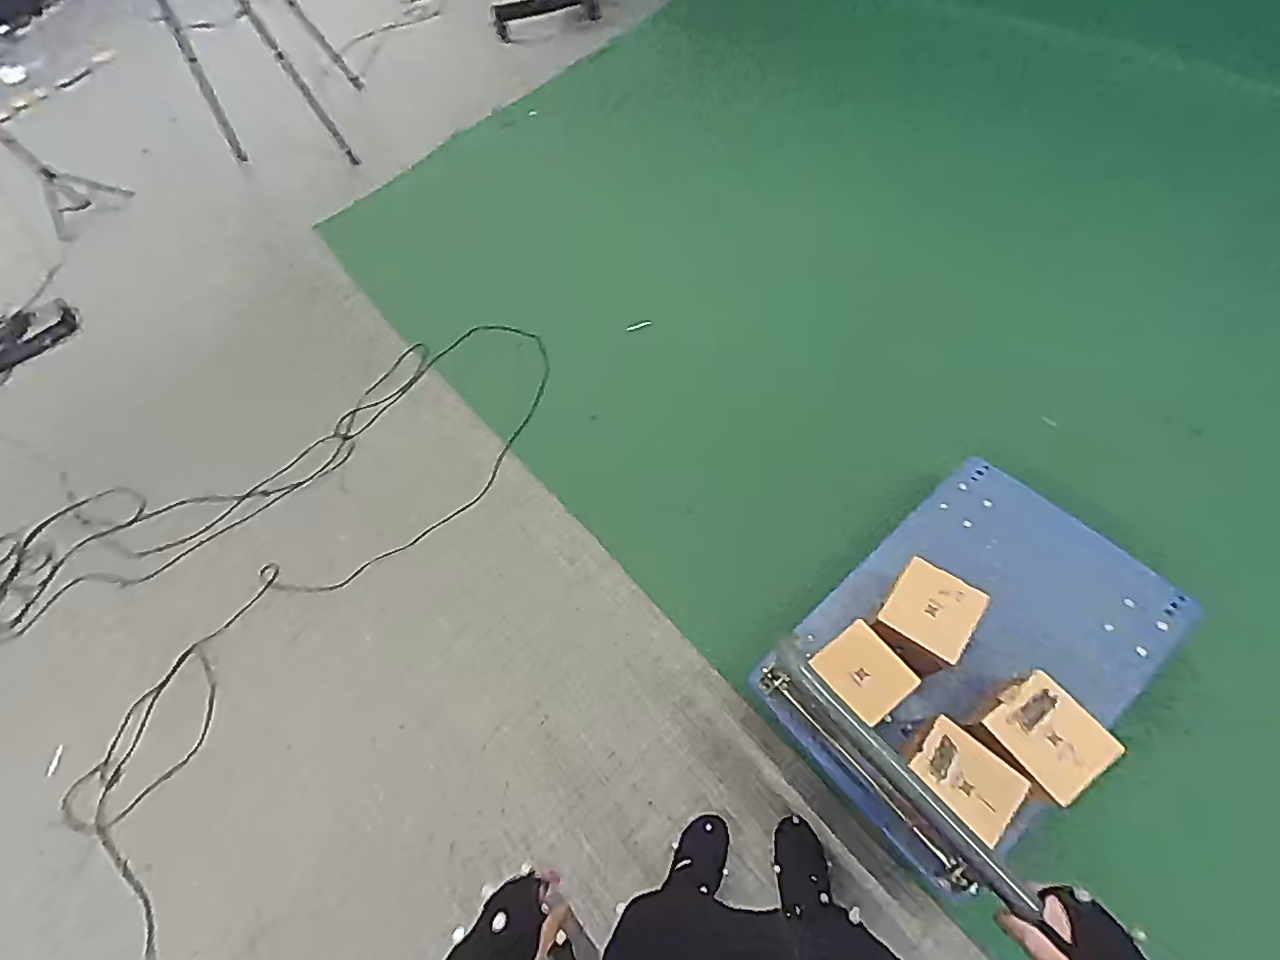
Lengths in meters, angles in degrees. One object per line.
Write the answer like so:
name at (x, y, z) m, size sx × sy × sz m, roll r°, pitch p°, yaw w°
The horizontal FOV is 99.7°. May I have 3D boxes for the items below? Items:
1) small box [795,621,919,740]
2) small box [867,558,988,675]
small box at (0.457, 0.436, 1.173) m, size 0.179 × 0.176 × 0.168 m, roll -36°, pitch 63°, yaw -9°
small box at (0.627, 0.310, 1.206) m, size 0.168 × 0.176 × 0.179 m, roll 33°, pitch 73°, yaw 23°
